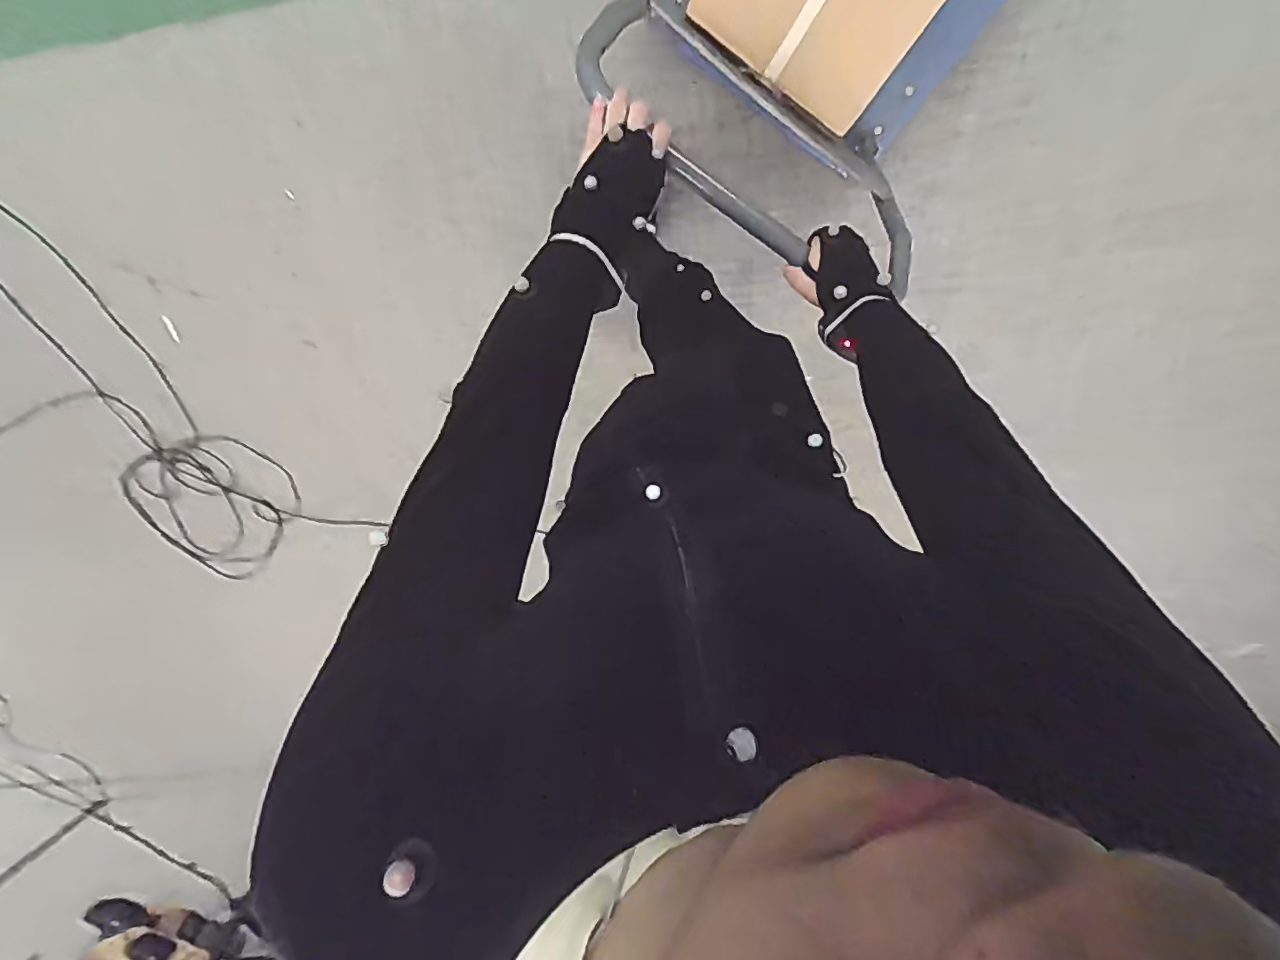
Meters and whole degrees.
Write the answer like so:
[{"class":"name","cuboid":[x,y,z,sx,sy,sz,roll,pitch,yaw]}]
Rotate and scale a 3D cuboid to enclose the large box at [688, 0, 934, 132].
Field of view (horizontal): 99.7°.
[{"class":"large box","cuboid":[0.319,-0.859,0.855,0.320,0.320,0.408,28,129,-14]}]
